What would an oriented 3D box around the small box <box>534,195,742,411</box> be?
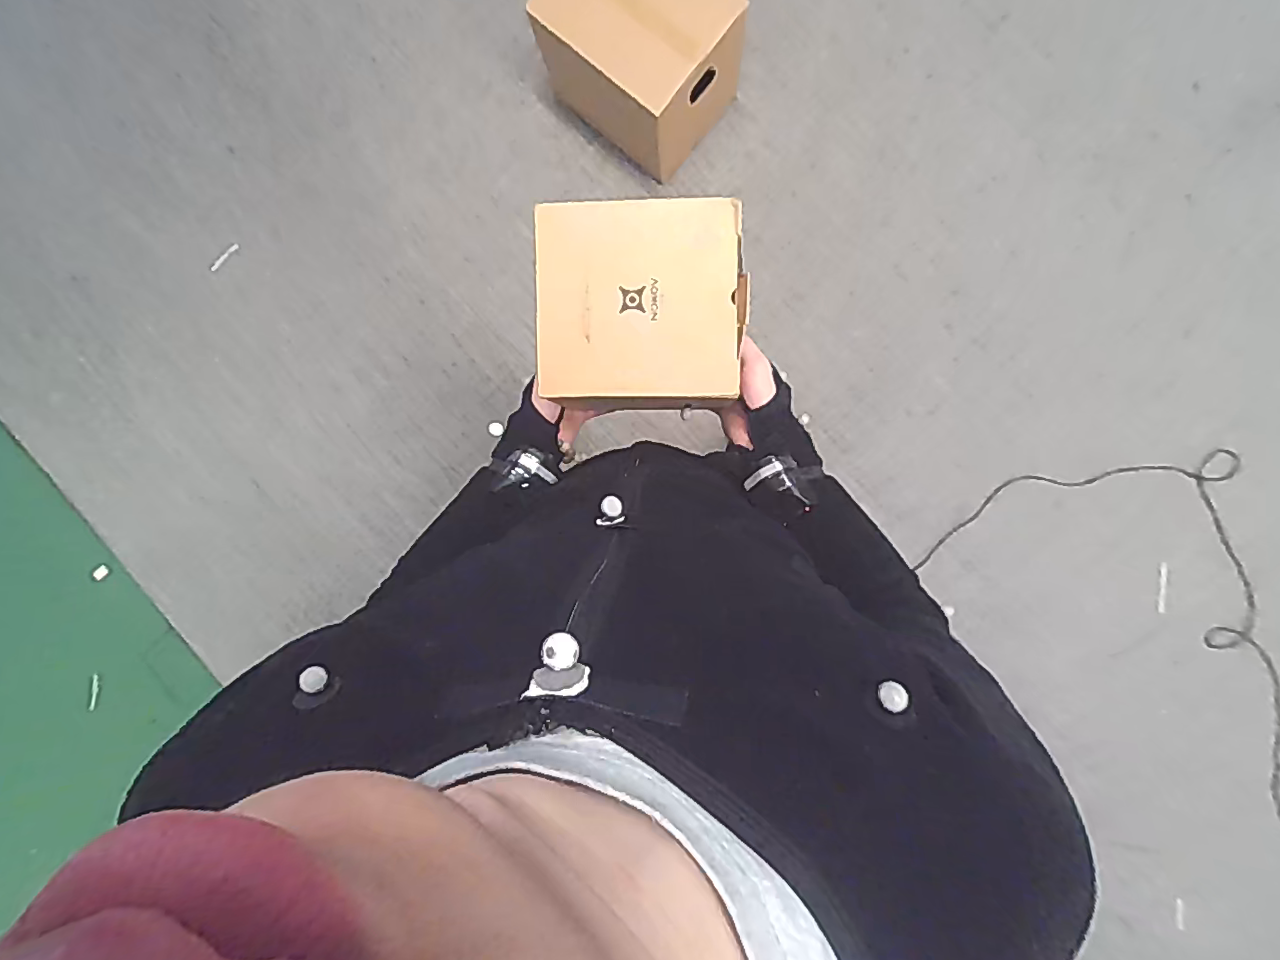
[{"bbox_3d":[0.003,-0.159,0.537,0.179,0.176,0.168,-1,92,5],"label":"small box"}]
